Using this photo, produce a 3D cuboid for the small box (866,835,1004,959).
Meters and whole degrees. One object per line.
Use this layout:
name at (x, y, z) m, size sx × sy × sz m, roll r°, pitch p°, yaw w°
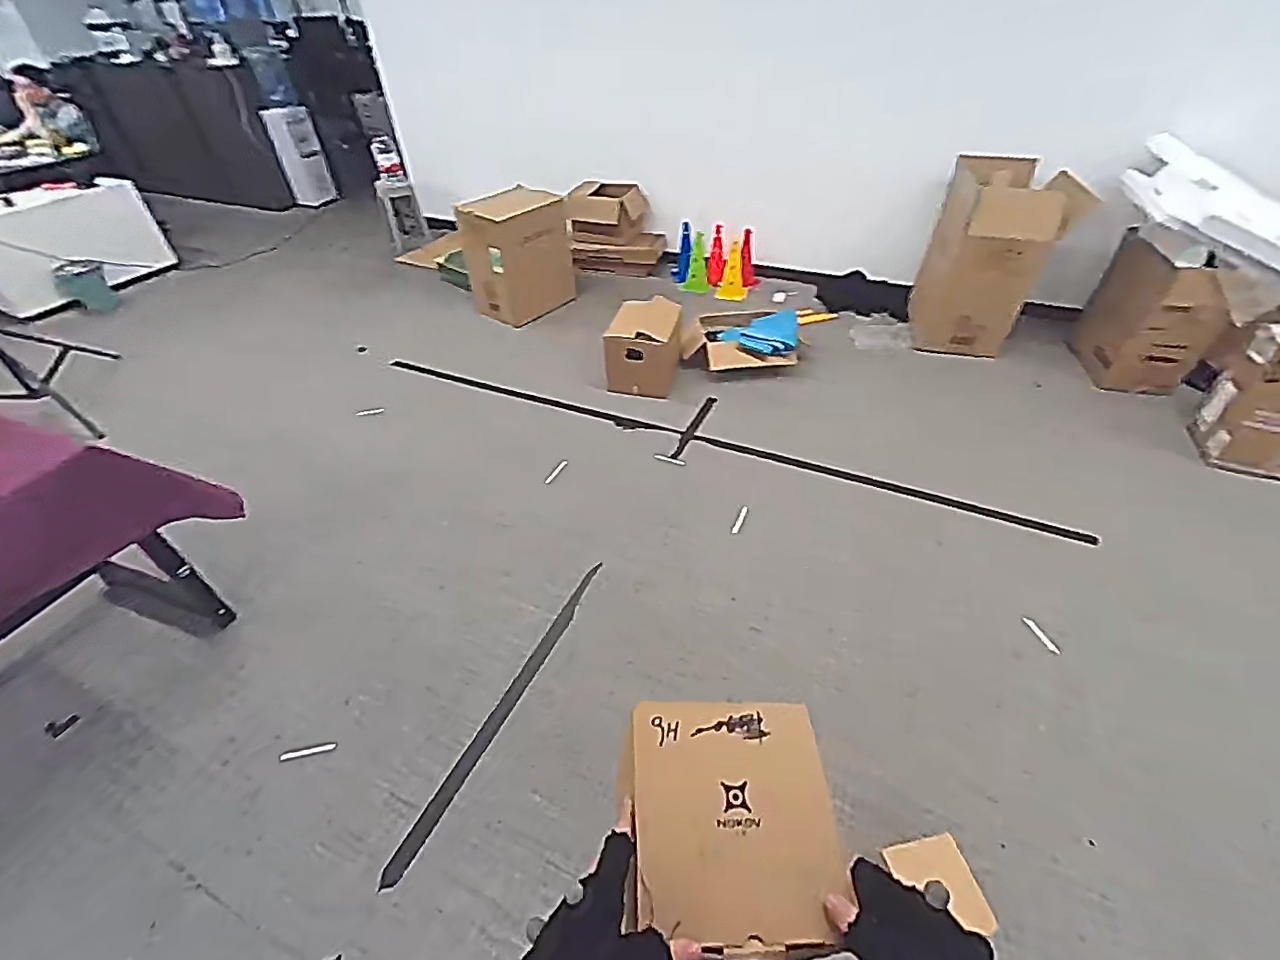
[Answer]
small box at (0.612, 0.893, 1.147) m, size 0.168 × 0.176 × 0.179 m, roll -8°, pitch 42°, yaw -8°
